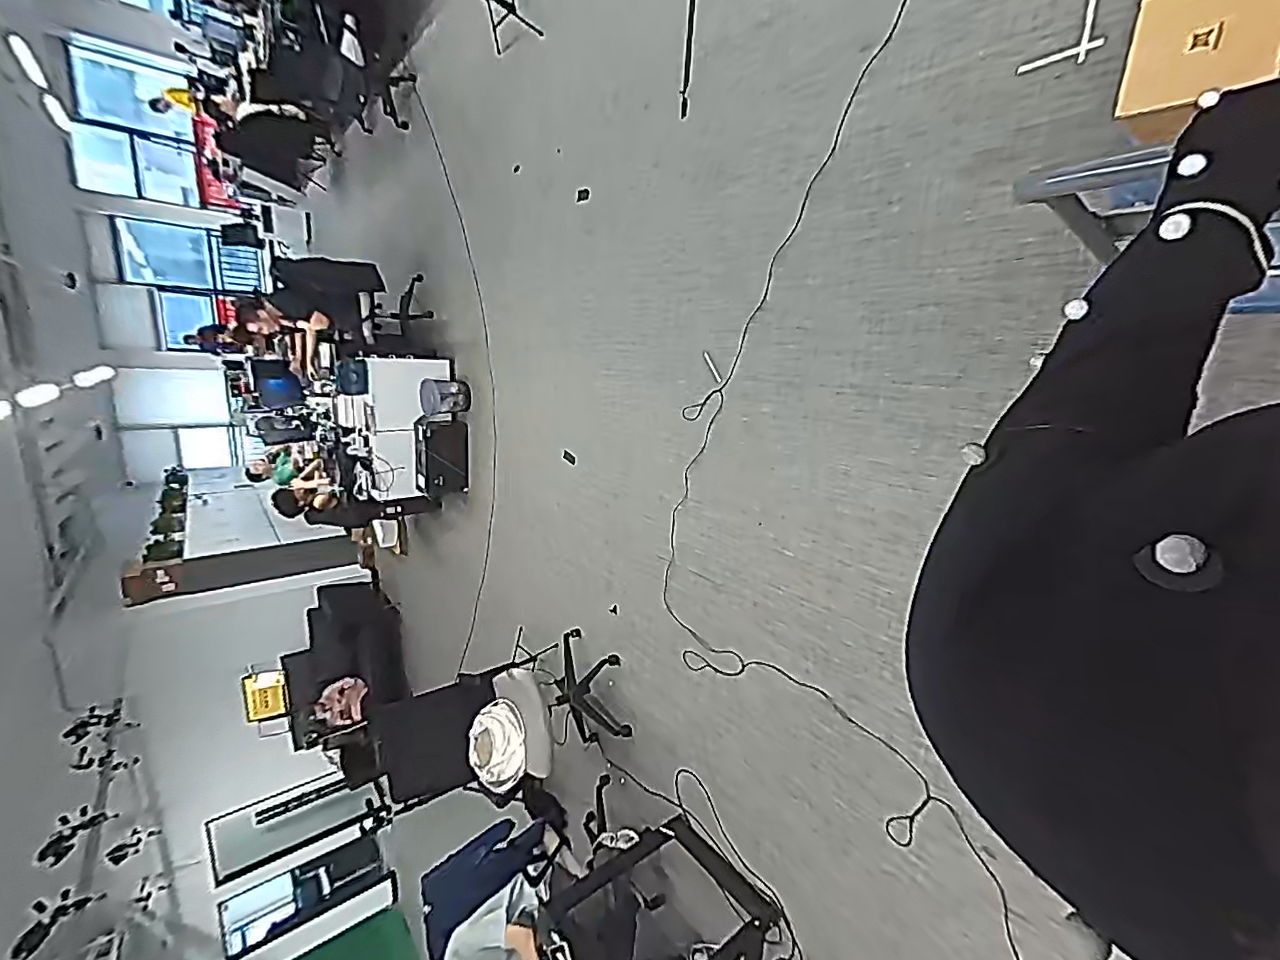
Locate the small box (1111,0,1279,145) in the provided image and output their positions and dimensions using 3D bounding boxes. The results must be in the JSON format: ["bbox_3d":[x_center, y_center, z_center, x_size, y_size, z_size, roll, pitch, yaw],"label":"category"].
[{"bbox_3d":[0.875,-0.644,0.834,0.179,0.176,0.168,19,110,46],"label":"small box"}]
